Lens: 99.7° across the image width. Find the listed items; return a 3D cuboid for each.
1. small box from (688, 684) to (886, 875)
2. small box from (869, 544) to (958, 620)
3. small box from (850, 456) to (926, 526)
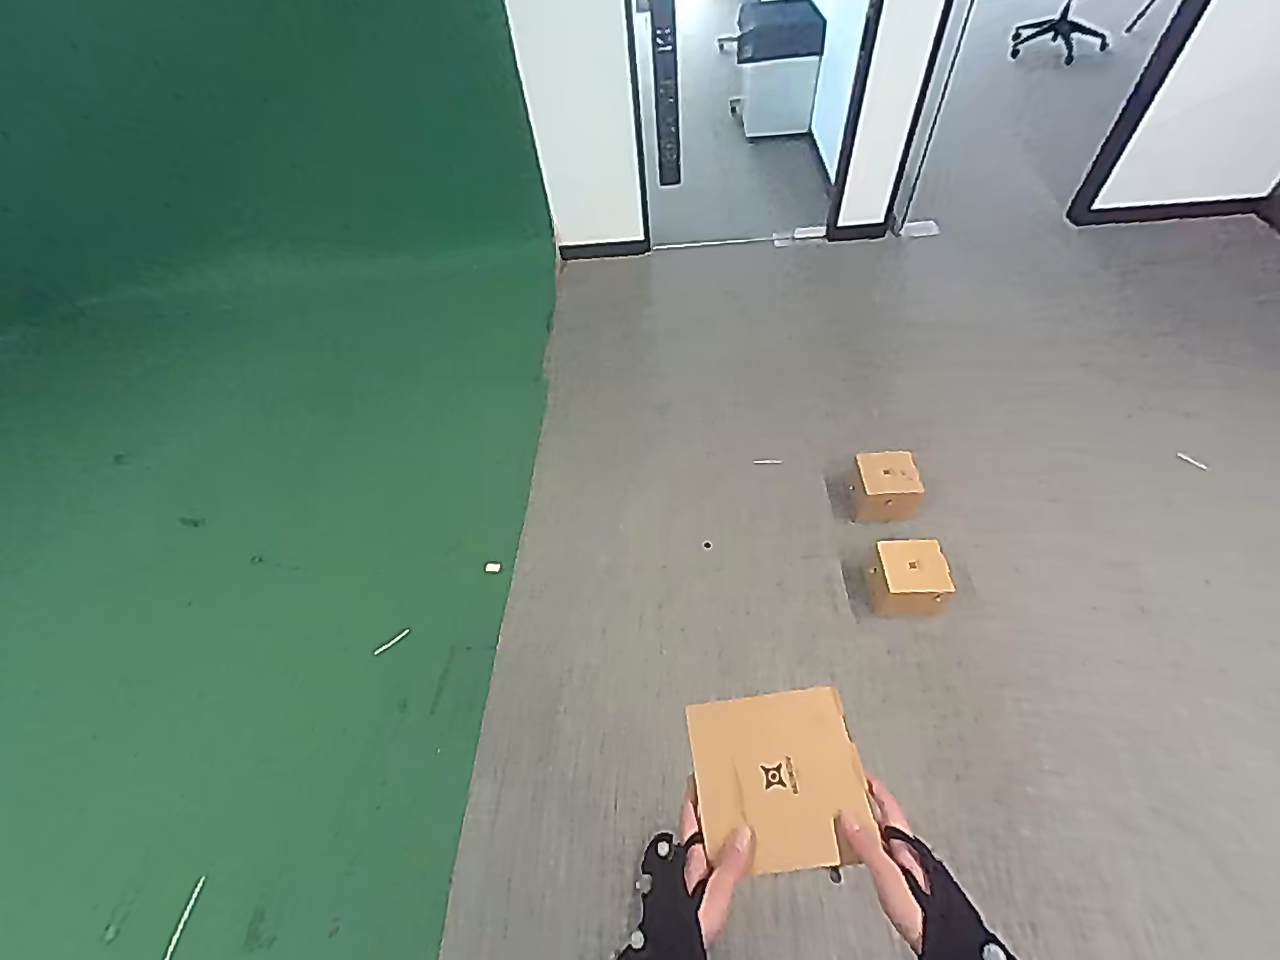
[{"bbox_3d":[0.155,0.350,0.628,0.179,0.176,0.168,-8,54,4],"label":"small box"},{"bbox_3d":[0.783,0.301,1.576,0.179,0.176,0.168,-2,53,4],"label":"small box"},{"bbox_3d":[0.800,0.040,1.768,0.179,0.176,0.168,-2,53,5],"label":"small box"}]
